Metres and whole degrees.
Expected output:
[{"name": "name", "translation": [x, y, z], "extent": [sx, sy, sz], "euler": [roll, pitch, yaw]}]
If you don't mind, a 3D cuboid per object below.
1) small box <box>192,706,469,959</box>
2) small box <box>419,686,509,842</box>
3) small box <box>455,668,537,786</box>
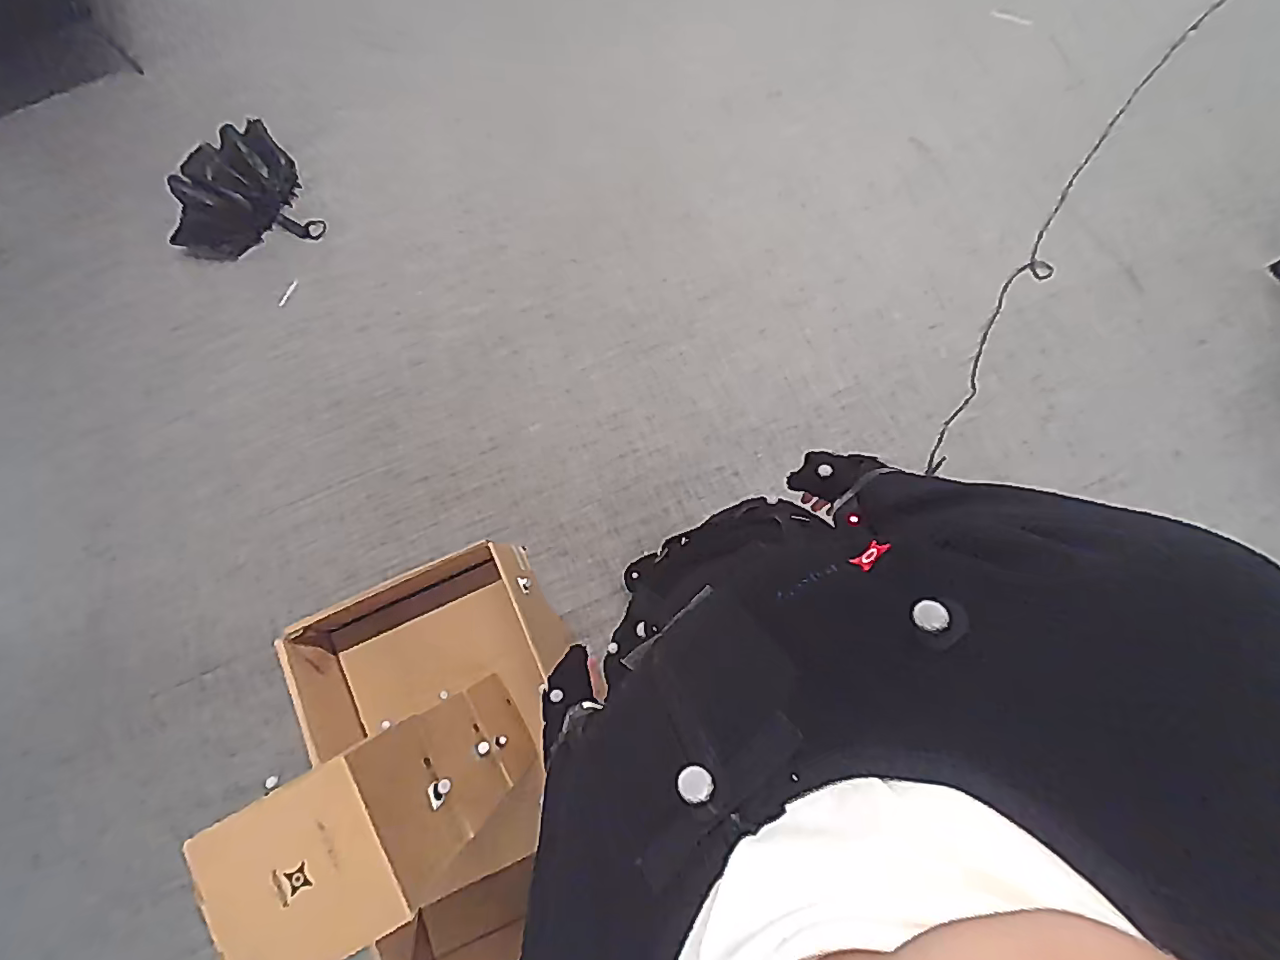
[{"name": "small box", "translation": [-0.321, 0.382, 0.596], "extent": [0.179, 0.176, 0.168], "euler": [-29, 81, -3]}, {"name": "small box", "translation": [-0.311, 0.416, 0.754], "extent": [0.179, 0.176, 0.168], "euler": [-30, 80, -3]}, {"name": "small box", "translation": [-0.300, 0.444, 0.915], "extent": [0.179, 0.176, 0.168], "euler": [-31, 81, -2]}]
